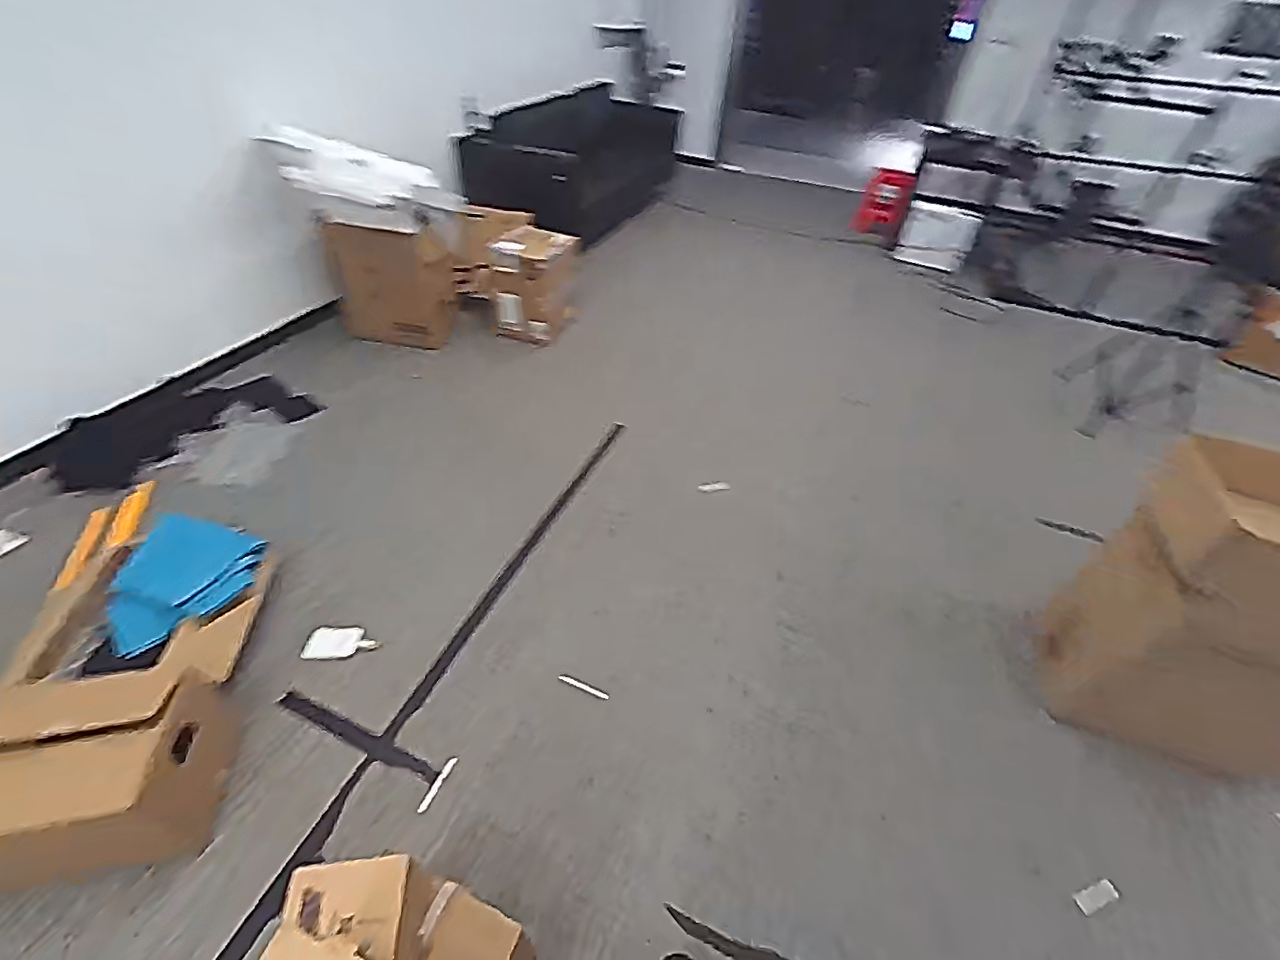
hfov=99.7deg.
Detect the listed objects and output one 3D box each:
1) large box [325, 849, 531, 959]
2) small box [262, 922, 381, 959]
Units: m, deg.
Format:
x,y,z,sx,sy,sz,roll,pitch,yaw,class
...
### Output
x,y,z,sx,sy,sz,roll,pitch,yaw,class
-0.430,0.973,0.950,0.320,0.320,0.408,17,43,12,large box
-0.399,0.688,0.660,0.168,0.176,0.179,14,44,9,small box
